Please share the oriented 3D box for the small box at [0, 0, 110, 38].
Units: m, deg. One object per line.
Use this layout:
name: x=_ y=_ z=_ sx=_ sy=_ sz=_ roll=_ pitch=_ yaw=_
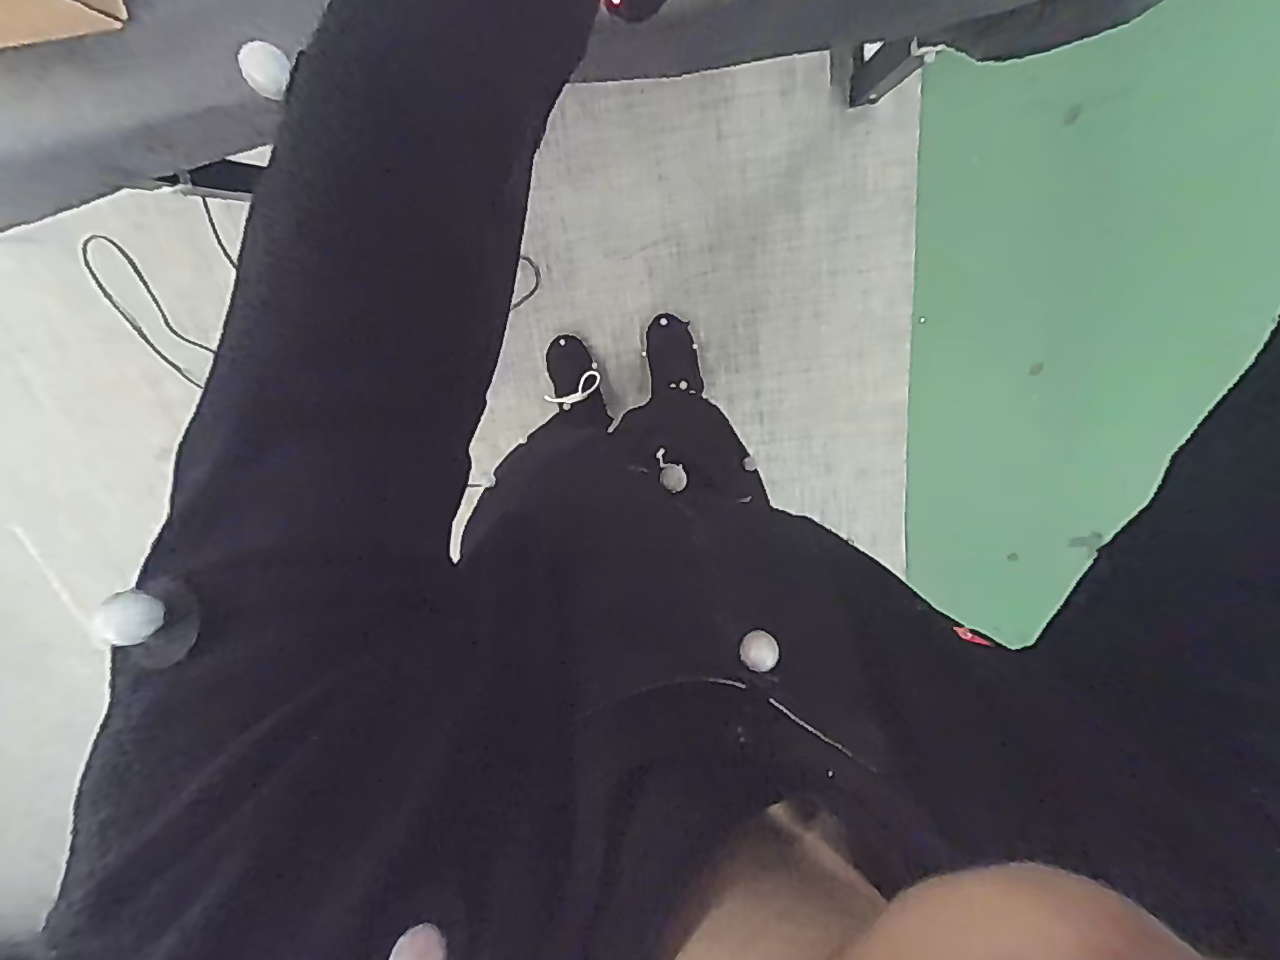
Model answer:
small box: x=-0.548 y=-0.443 z=0.377 sx=0.179 sy=0.176 sz=0.168 roll=-5 pitch=112 yaw=6
